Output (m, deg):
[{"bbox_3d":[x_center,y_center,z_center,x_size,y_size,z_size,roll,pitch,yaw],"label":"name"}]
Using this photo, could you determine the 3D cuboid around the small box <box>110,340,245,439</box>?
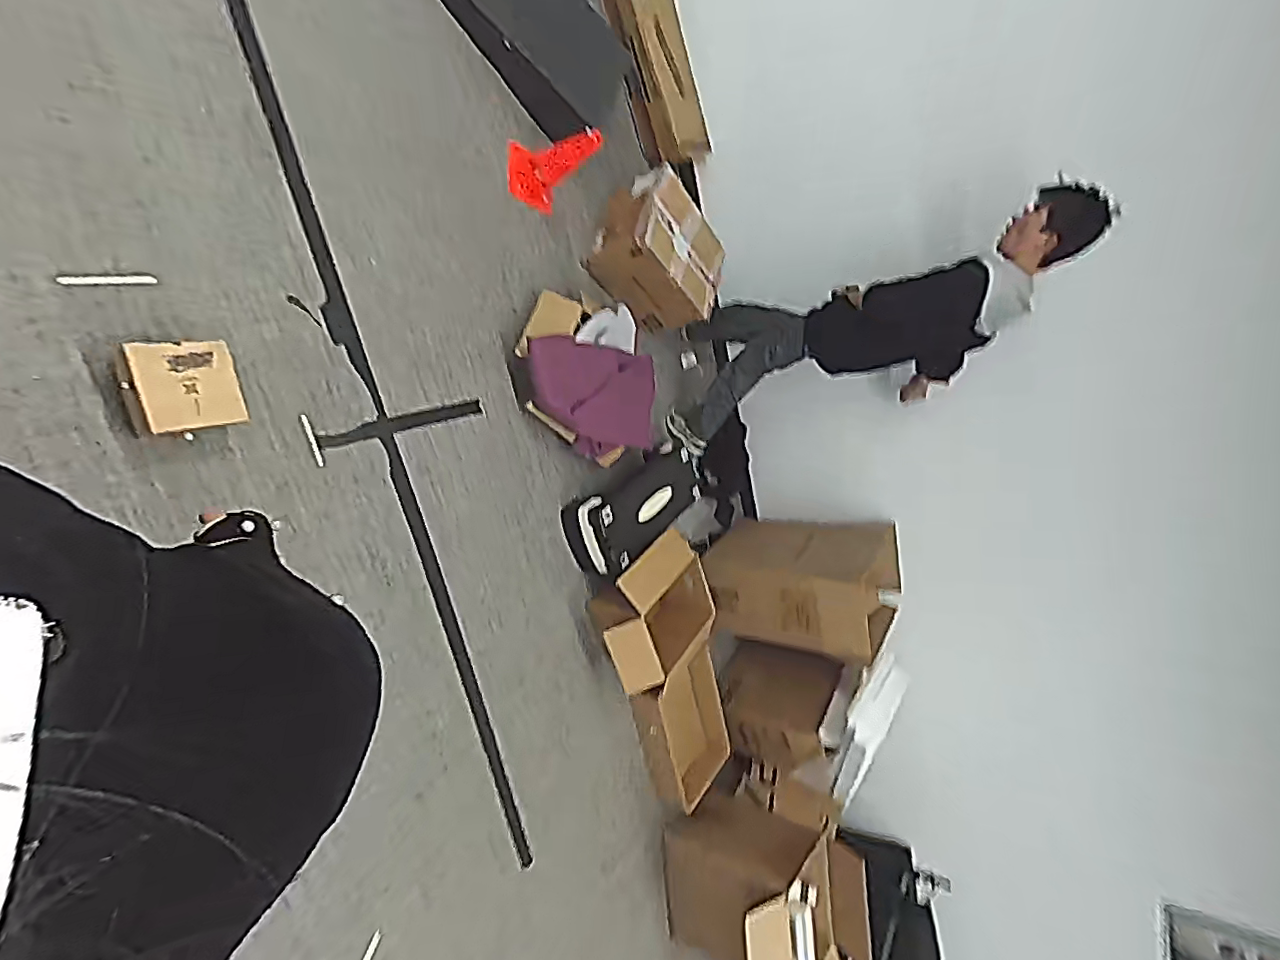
[{"bbox_3d":[-0.978,-0.190,1.144,0.168,0.176,0.179,-21,105,-49],"label":"small box"}]
